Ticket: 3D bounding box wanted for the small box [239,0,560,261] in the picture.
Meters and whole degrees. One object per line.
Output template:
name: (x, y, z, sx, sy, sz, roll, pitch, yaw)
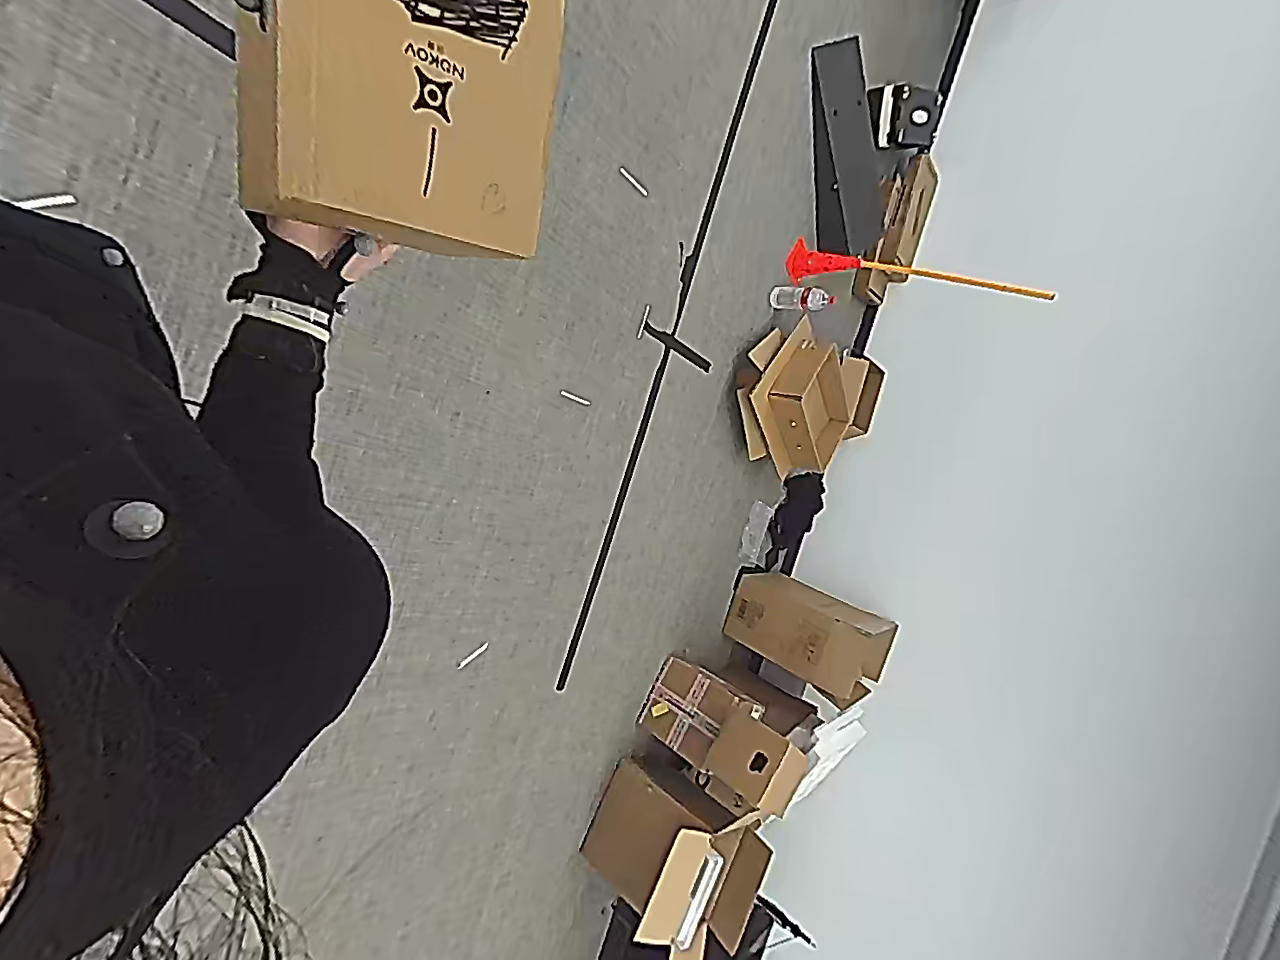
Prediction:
small box: (-0.180, -0.269, 0.394, 0.168, 0.176, 0.179, -5, 111, -42)
